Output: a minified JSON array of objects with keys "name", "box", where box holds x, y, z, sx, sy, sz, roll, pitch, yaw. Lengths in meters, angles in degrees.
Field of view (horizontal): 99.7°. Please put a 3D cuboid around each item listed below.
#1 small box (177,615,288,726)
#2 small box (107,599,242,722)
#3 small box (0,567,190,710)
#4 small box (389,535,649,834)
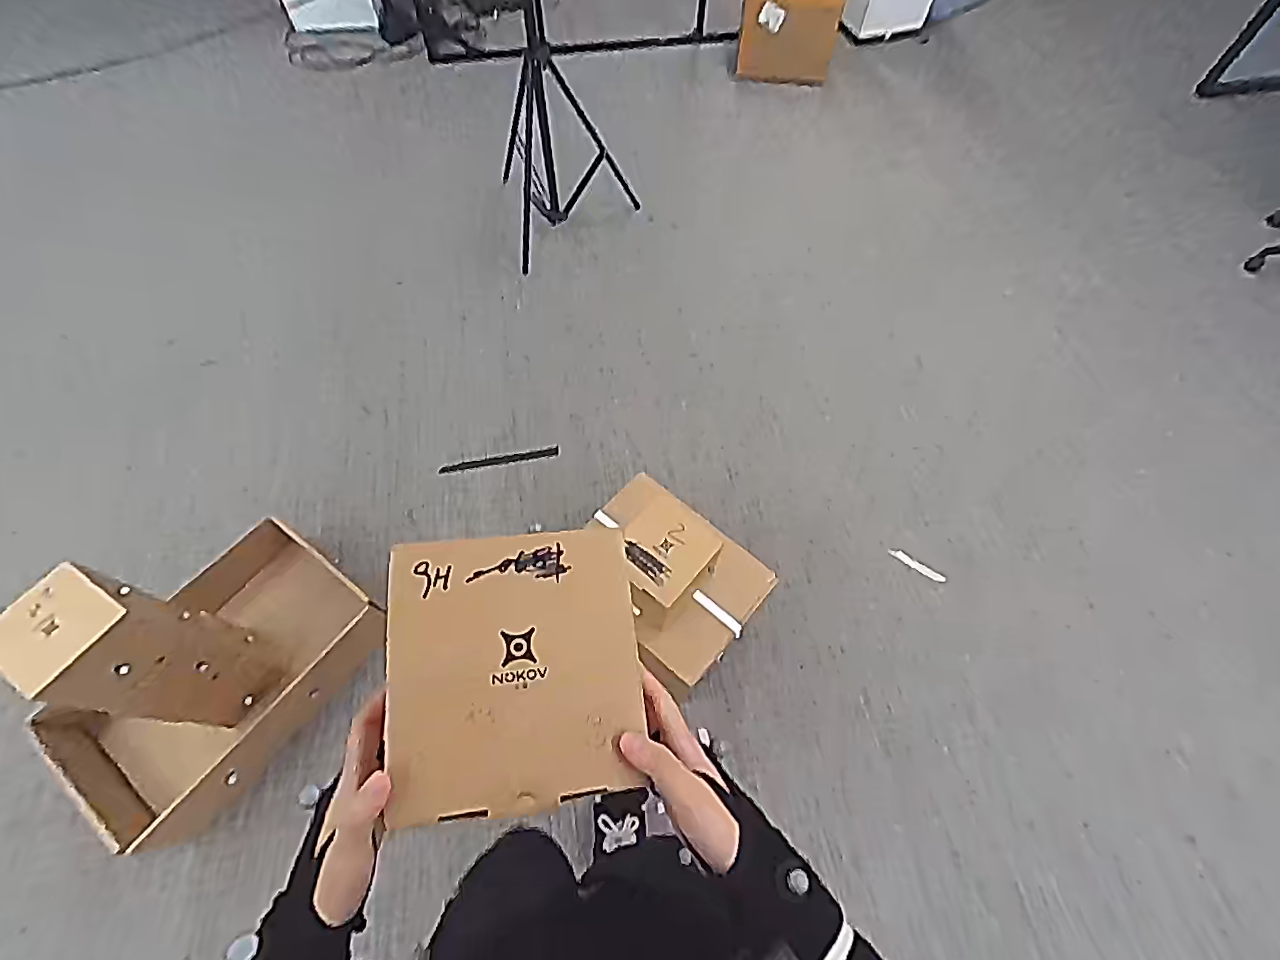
[{"name":"small box","box":[-0.971,0.445,1.245,0.179,0.176,0.168,33,66,15]},{"name":"small box","box":[-0.975,0.371,1.102,0.179,0.176,0.168,28,63,15]},{"name":"small box","box":[-0.968,0.287,0.958,0.179,0.176,0.168,29,63,14]},{"name":"small box","box":[-0.095,0.152,0.441,0.168,0.176,0.179,-4,72,-12]}]
